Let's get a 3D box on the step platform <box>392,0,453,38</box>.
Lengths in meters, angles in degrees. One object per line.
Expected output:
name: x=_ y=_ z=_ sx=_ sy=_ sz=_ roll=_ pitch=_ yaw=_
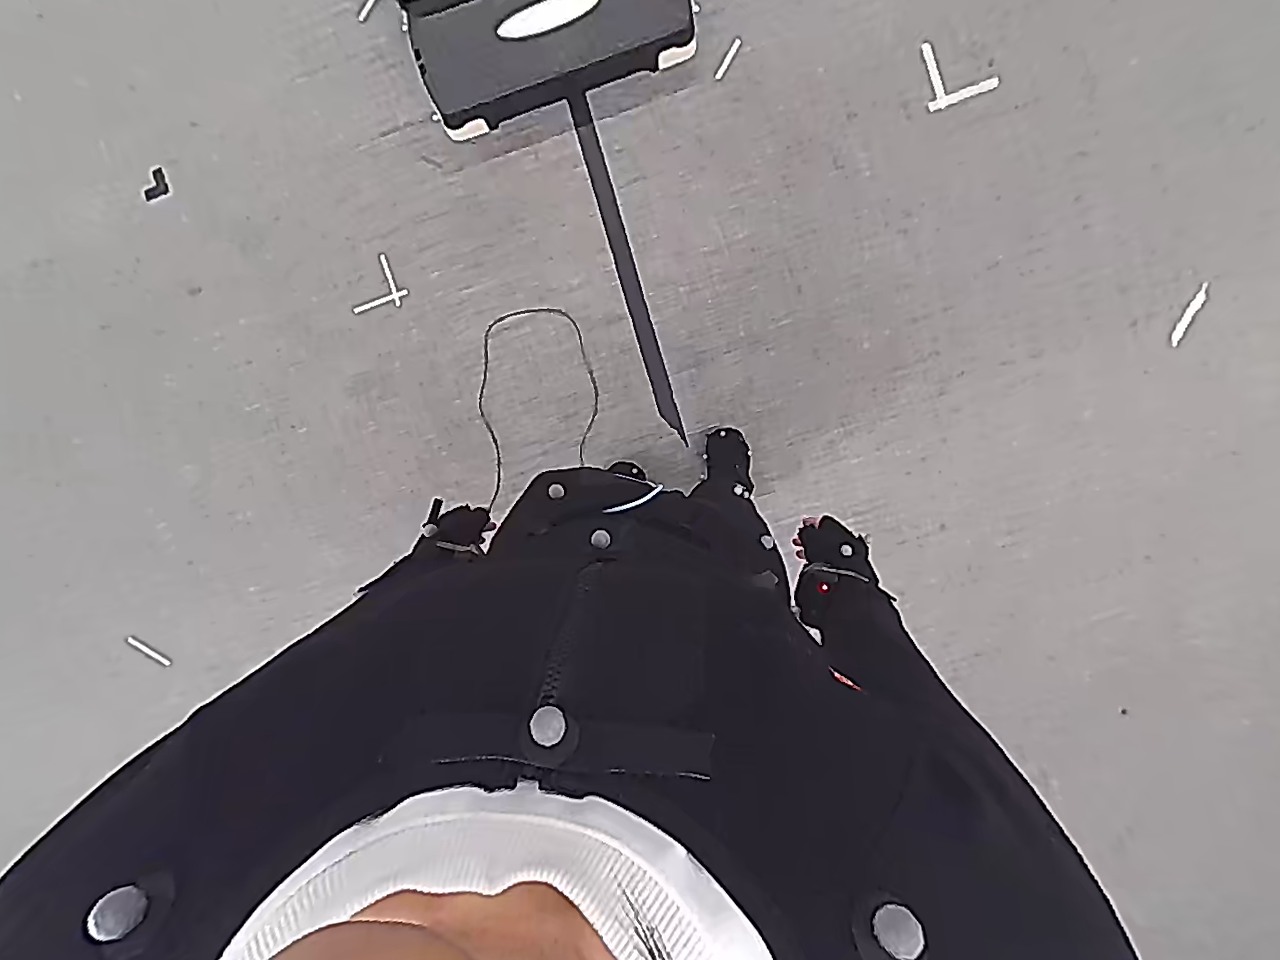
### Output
step platform: x=-0.304 y=-1.330 z=1.242 sx=0.684 sy=0.204 sz=0.286 roll=-18 pitch=95 yaw=3
